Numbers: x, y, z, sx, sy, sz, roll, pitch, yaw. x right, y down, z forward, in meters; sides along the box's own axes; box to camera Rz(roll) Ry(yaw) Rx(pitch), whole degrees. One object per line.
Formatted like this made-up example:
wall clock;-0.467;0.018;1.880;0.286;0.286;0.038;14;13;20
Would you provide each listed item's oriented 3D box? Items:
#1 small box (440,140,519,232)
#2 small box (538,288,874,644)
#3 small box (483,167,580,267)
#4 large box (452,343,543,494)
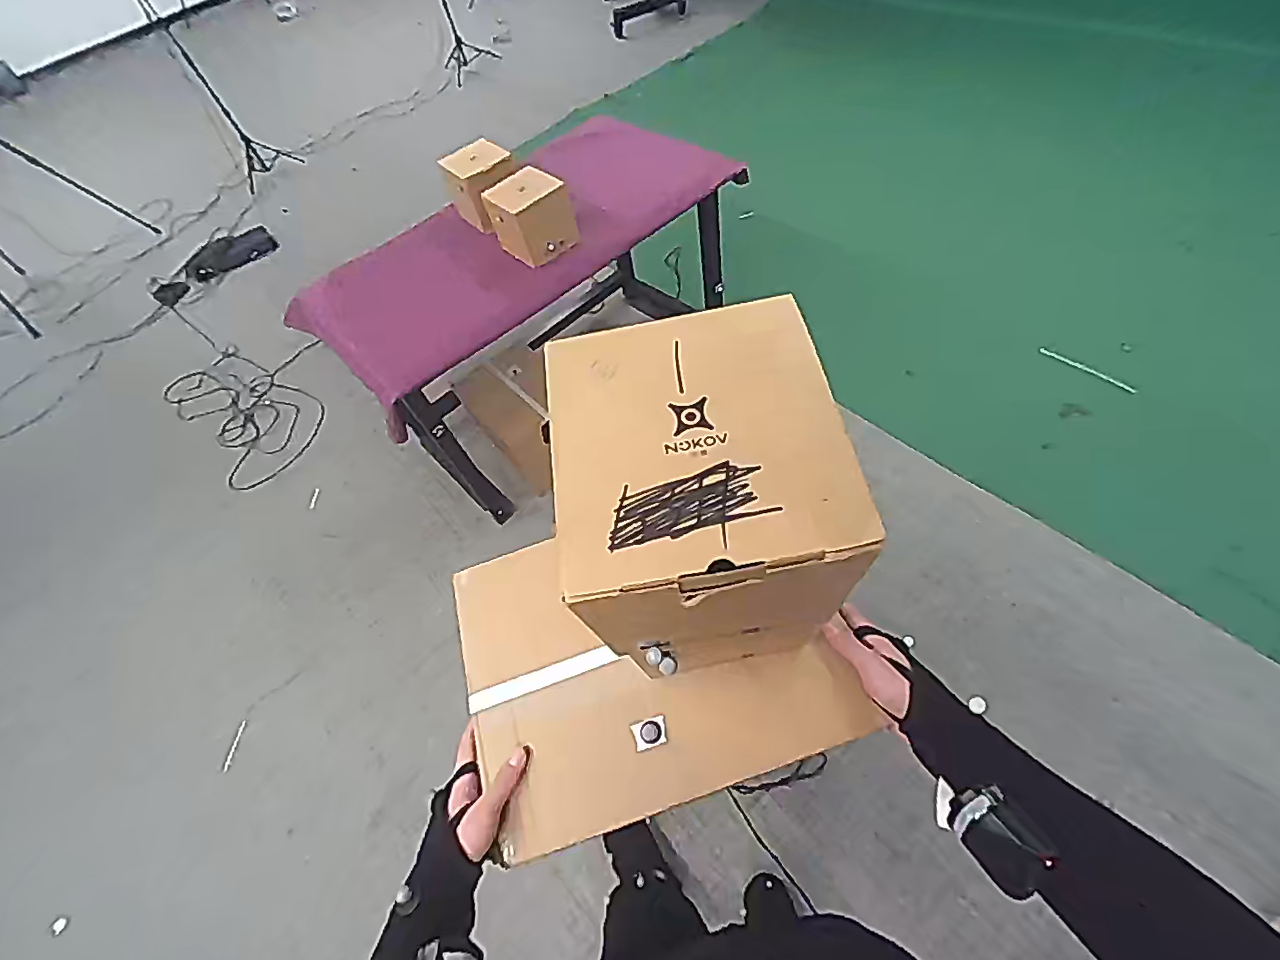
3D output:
small box;-0.460;-0.876;1.617;0.168;0.176;0.179;-38;59;-15
small box;0.036;0.006;0.371;0.168;0.176;0.179;-10;61;3
small box;-0.291;-0.713;1.472;0.168;0.176;0.179;-39;57;-14
large box;-0.398;-0.224;1.975;0.320;0.320;0.408;-40;57;-16
